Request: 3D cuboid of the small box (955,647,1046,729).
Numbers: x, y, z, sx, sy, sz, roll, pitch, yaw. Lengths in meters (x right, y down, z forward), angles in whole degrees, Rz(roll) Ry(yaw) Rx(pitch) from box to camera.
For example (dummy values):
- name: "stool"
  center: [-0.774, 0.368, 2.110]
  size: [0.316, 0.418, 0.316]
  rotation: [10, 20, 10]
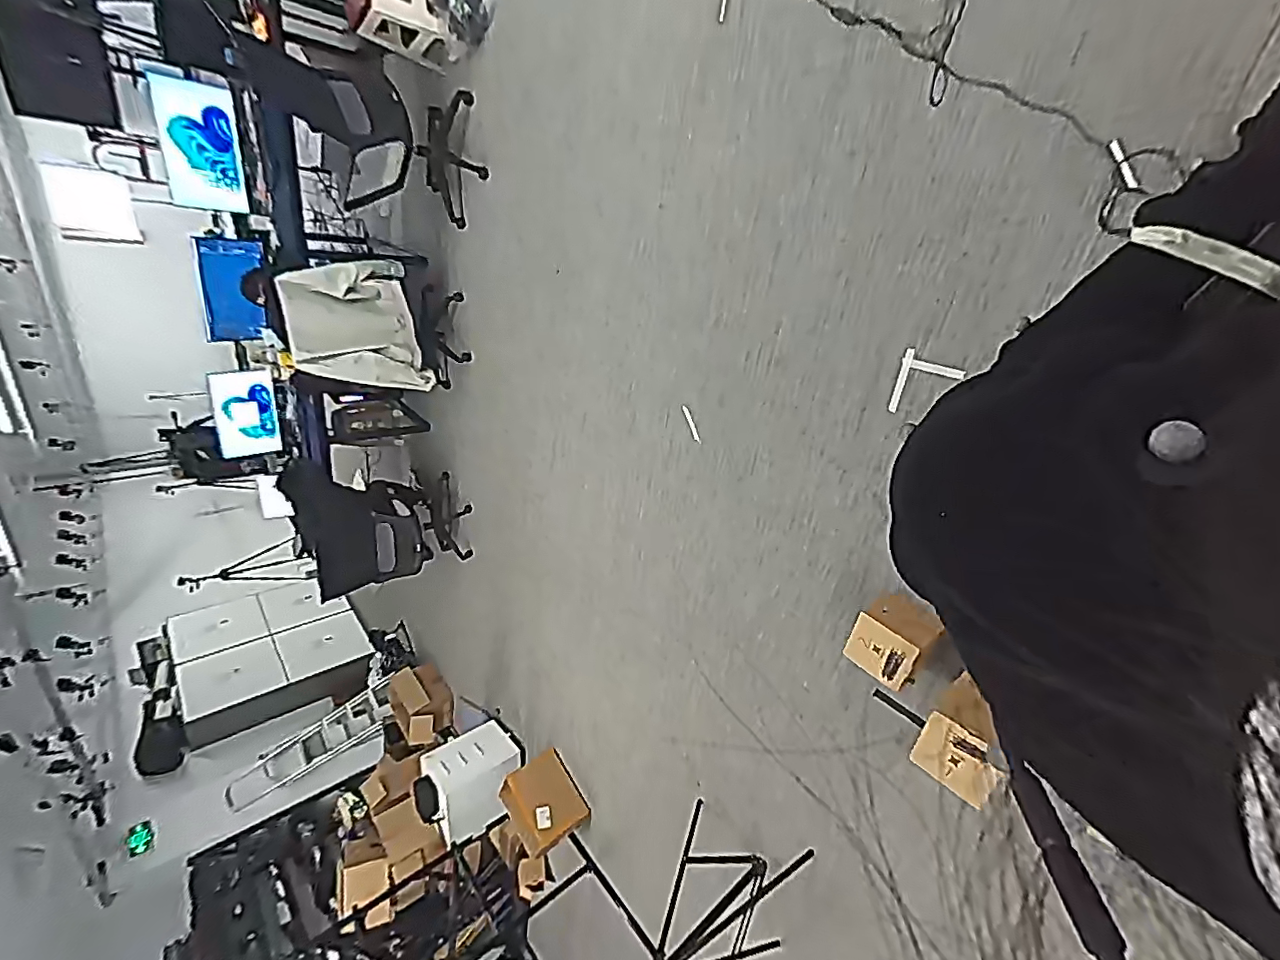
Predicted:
- name: "small box"
  center: [0.889, 0.565, 1.373]
  size: [0.168, 0.176, 0.179]
  rotation: [35, 125, 37]

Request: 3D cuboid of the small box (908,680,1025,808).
- name: "small box"
  center: [0.769, 0.608, 1.269]
  size: [0.168, 0.176, 0.179]
  rotation: [32, 125, 39]
